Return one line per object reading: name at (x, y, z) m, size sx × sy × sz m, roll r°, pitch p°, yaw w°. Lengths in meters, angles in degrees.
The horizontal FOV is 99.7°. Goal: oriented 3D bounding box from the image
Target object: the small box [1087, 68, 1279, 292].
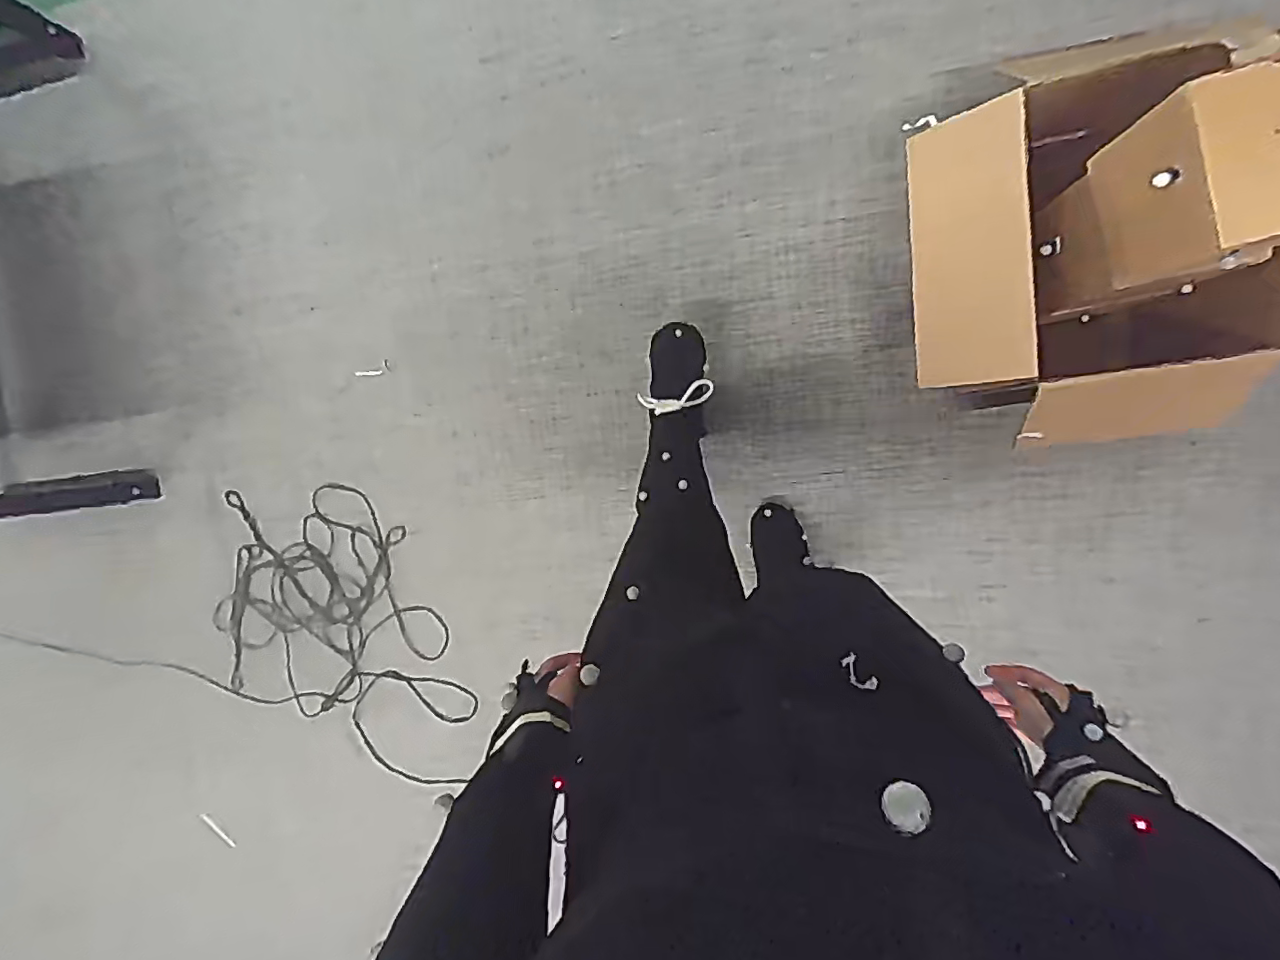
small box at (0.669, -0.333, 0.625) m, size 0.168 × 0.176 × 0.179 m, roll -13°, pitch 91°, yaw 12°
